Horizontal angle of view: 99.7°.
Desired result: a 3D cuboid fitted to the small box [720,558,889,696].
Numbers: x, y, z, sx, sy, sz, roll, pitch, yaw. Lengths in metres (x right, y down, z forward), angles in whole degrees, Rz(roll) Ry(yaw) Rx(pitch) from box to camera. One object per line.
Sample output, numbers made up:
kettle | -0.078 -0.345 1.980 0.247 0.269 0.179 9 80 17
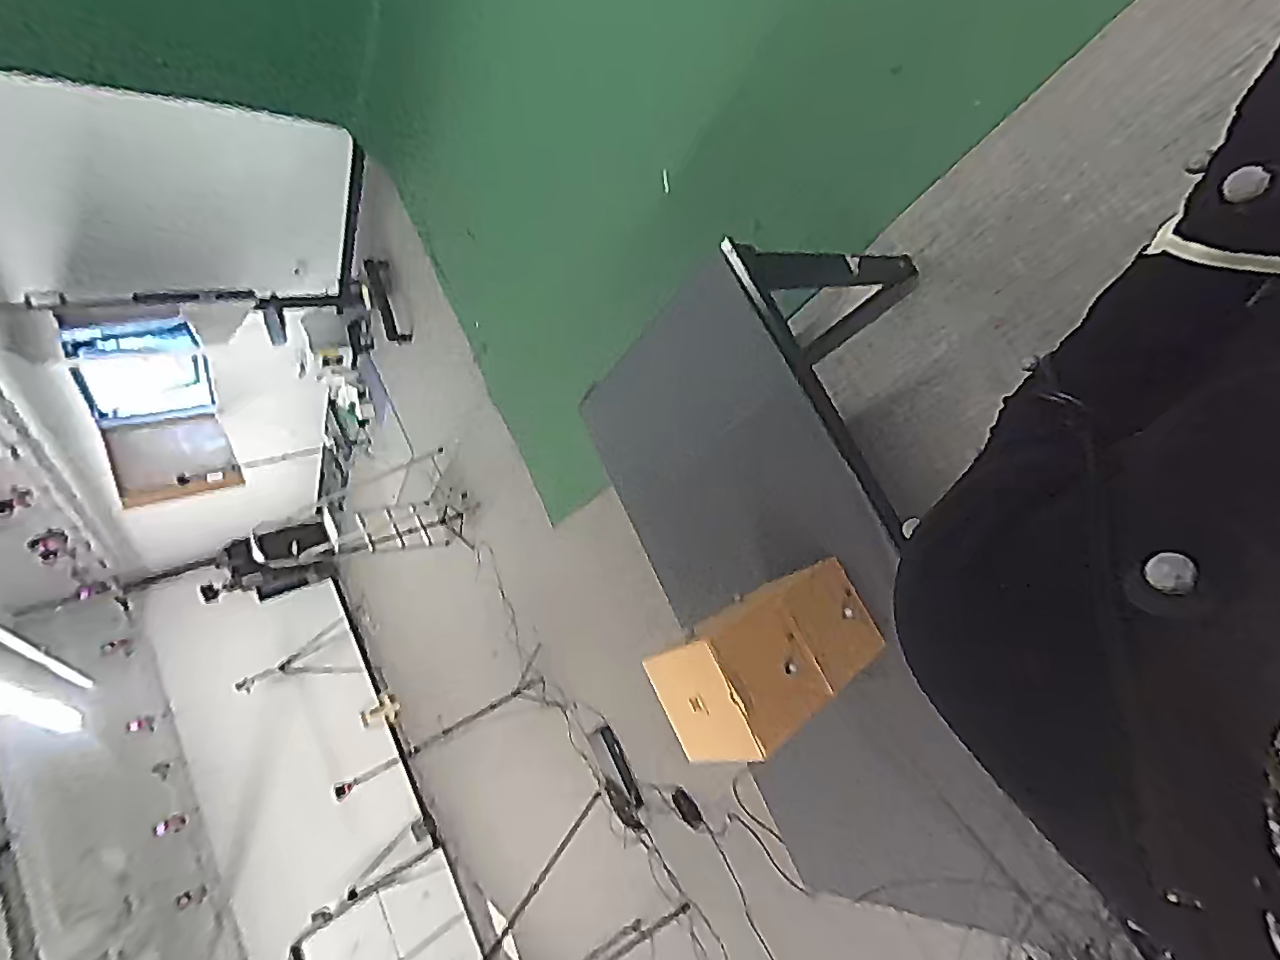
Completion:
small box | 0.275 0.253 0.909 0.179 0.176 0.168 -42 72 50

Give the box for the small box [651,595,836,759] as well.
small box | 0.152 0.293 0.810 0.179 0.176 0.168 -42 71 50
